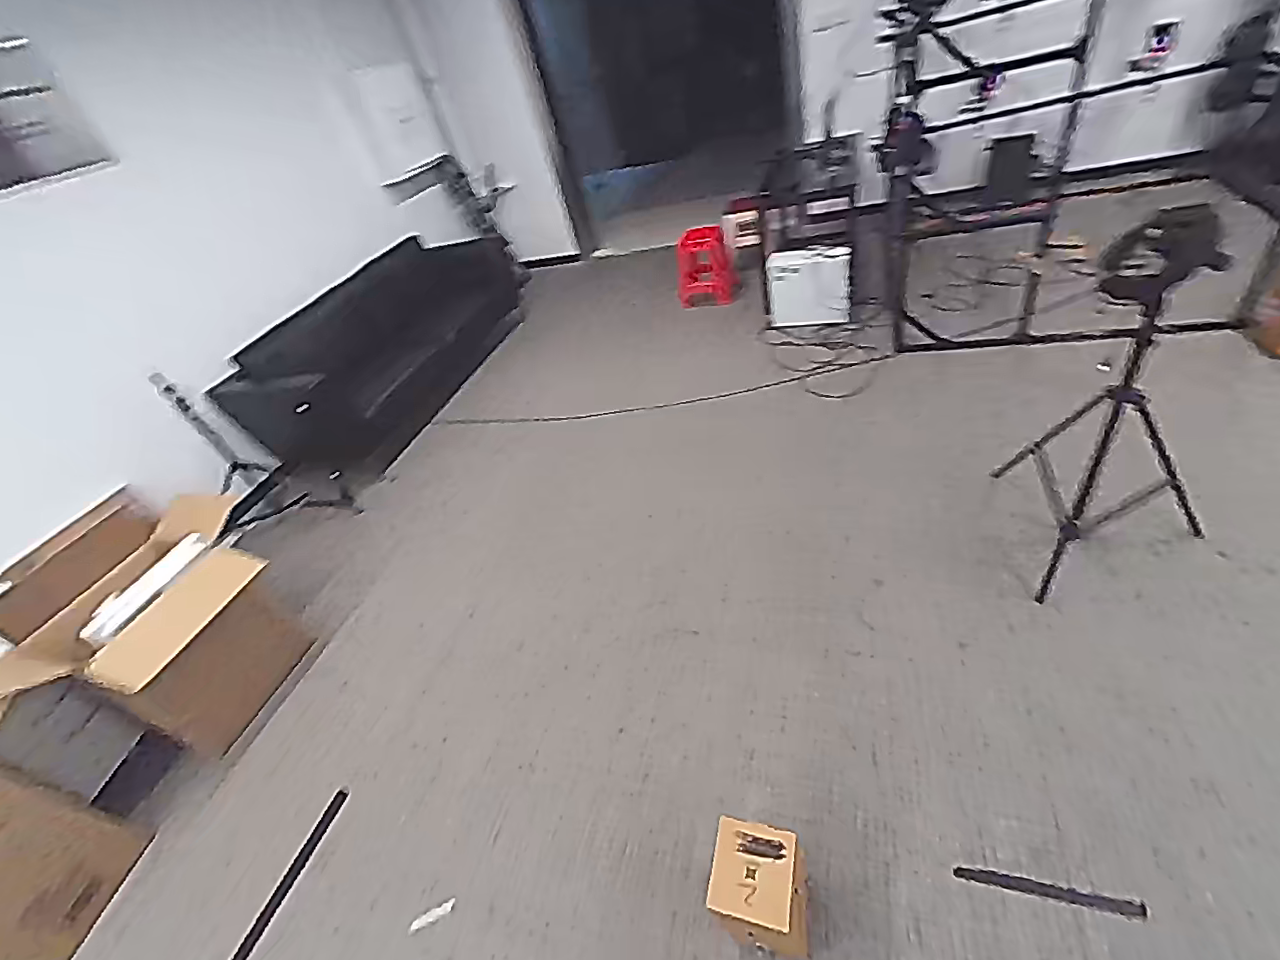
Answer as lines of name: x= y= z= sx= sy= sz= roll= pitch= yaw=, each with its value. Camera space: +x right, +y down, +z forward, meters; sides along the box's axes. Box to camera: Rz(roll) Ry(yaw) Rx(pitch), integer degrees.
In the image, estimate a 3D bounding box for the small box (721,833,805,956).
small box: x=0.295 y=0.974 z=1.272 sx=0.168 sy=0.176 sz=0.179 roll=-2 pitch=41 yaw=21
